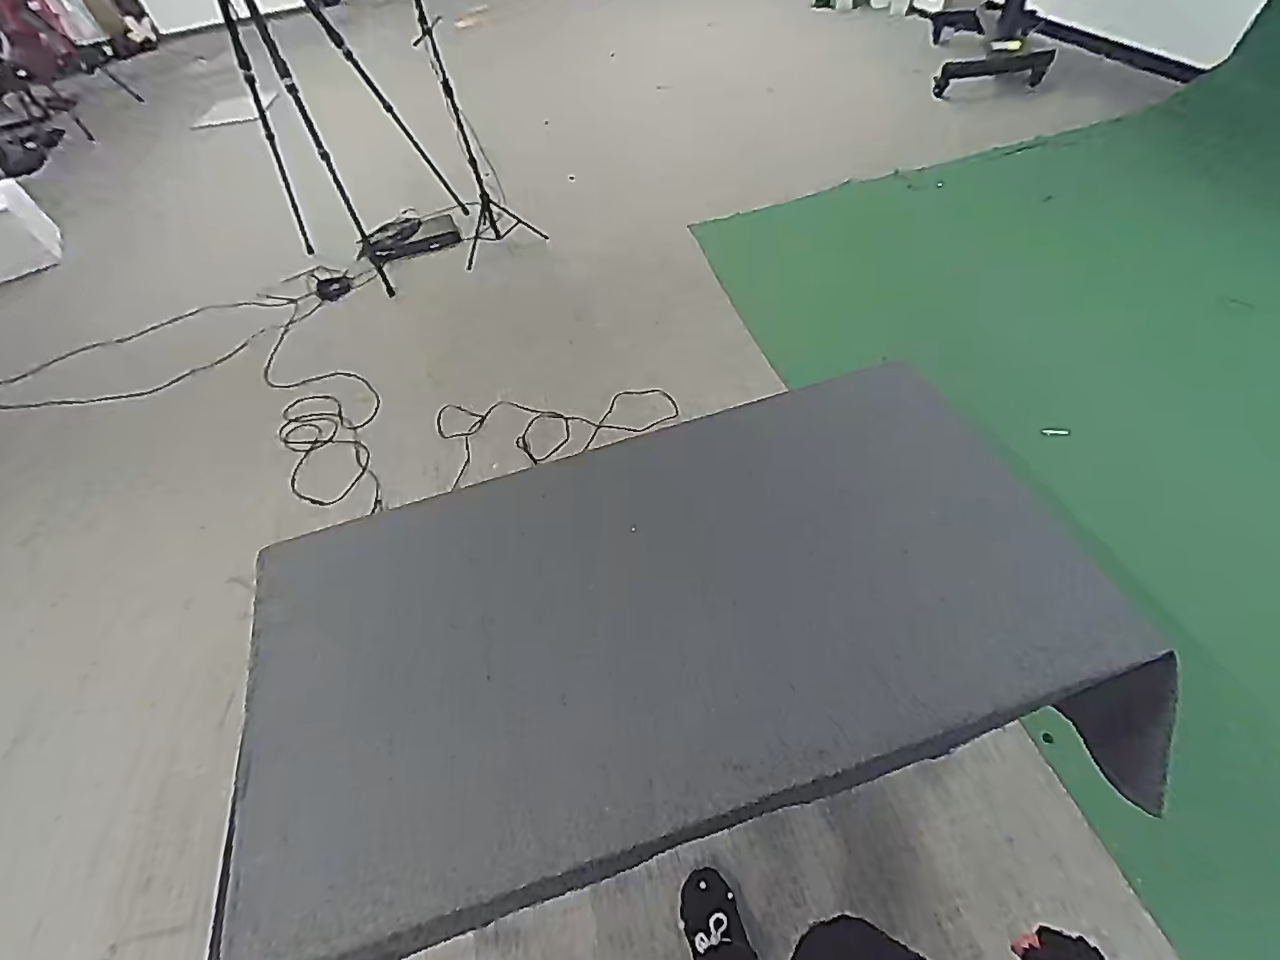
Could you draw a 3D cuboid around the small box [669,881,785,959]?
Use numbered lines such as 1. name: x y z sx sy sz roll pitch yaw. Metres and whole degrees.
1. small box: 0.168 0.922 1.060 0.179 0.176 0.168 4 64 32
